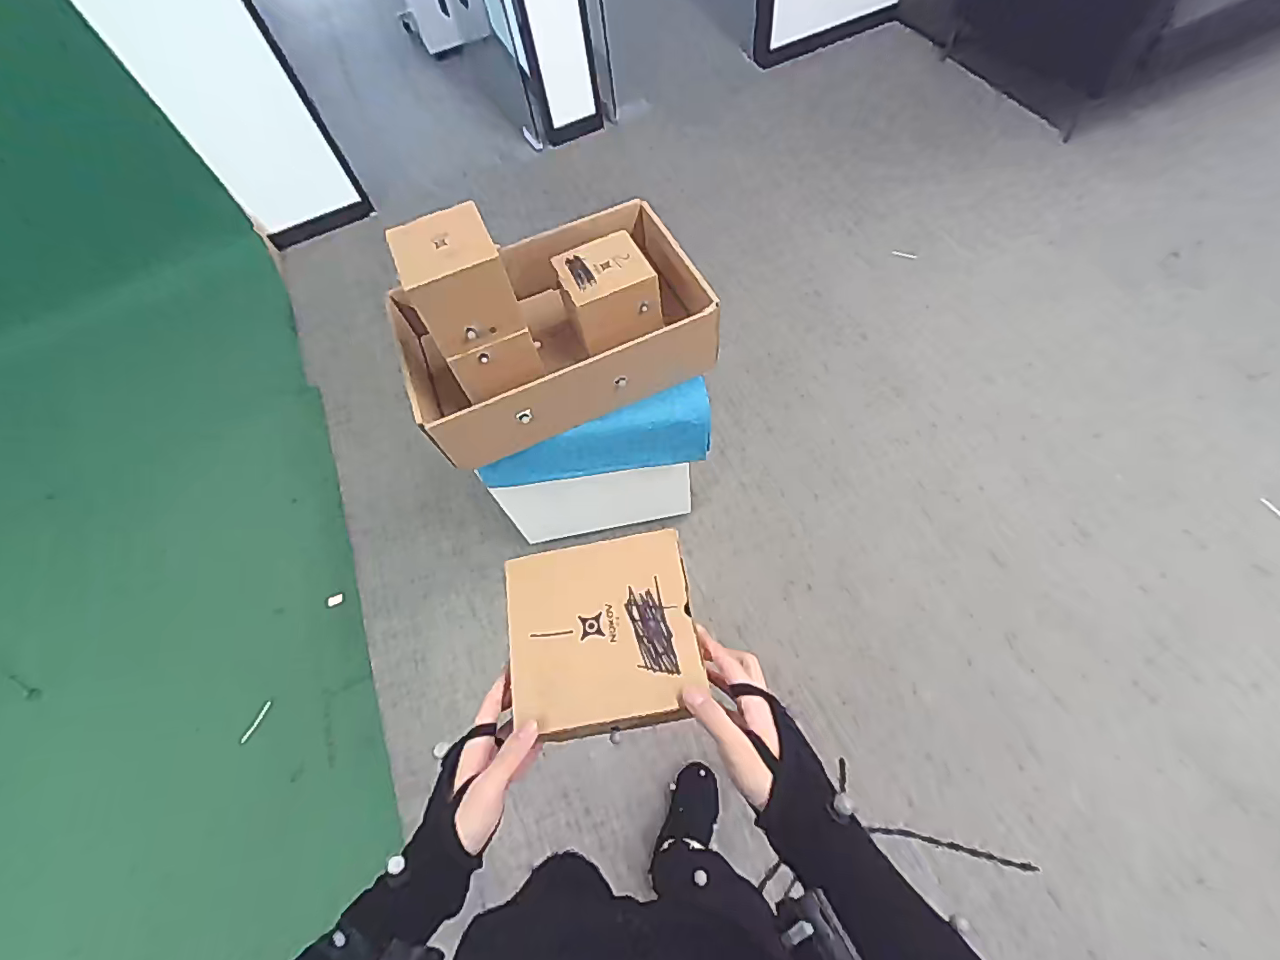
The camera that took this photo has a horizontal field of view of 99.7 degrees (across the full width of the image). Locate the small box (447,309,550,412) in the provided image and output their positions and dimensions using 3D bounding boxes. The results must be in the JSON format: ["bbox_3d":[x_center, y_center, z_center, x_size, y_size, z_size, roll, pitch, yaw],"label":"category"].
[{"bbox_3d":[-0.305,-0.275,1.128,0.168,0.176,0.179,-23,60,-6],"label":"small box"}]

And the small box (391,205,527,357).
[{"bbox_3d":[-0.326,-0.359,0.990,0.168,0.176,0.179,-23,61,-6],"label":"small box"}]
